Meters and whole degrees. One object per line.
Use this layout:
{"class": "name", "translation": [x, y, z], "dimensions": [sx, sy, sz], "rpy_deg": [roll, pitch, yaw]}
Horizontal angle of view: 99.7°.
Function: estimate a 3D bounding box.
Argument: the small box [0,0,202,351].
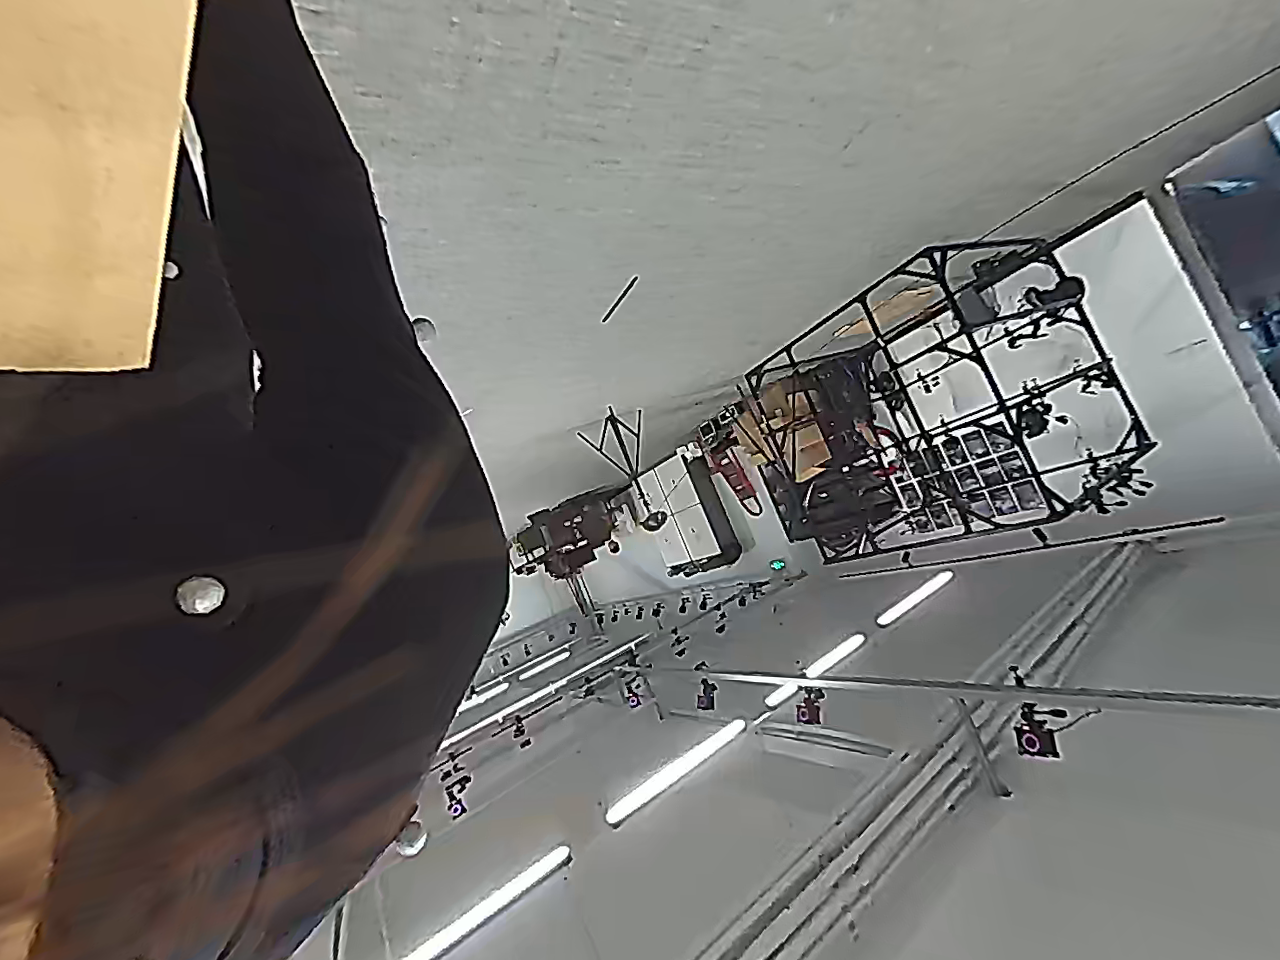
{"class": "small box", "translation": [-0.202, -0.136, 0.082], "dimensions": [0.179, 0.176, 0.168], "rpy_deg": [-29, 173, 40]}
